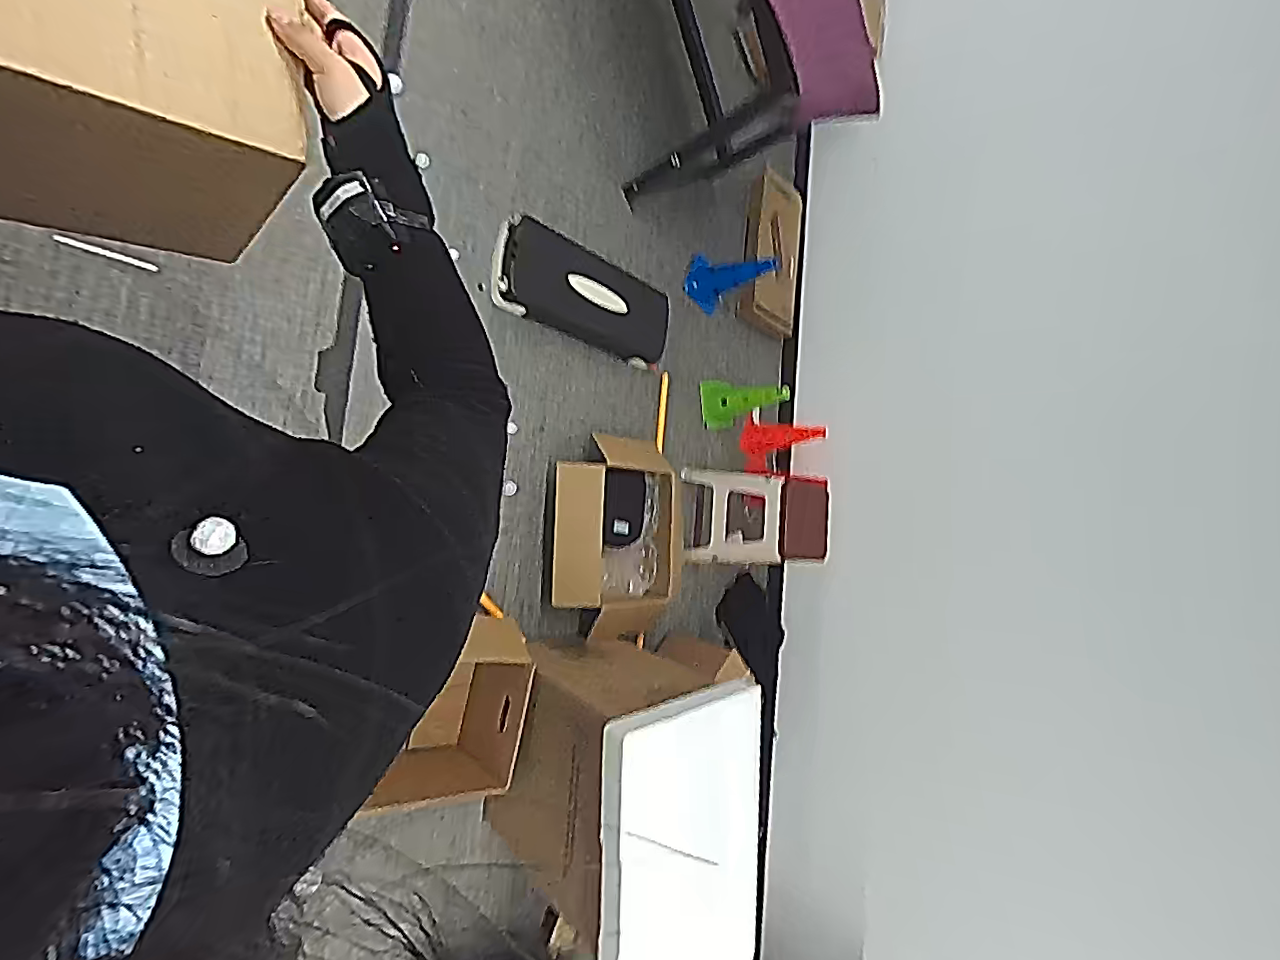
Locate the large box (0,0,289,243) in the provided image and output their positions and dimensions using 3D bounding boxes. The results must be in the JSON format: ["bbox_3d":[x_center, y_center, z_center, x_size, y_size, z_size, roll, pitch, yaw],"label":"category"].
[{"bbox_3d":[-0.536,-0.407,0.392,0.408,0.320,0.320,-6,95,-46],"label":"large box"}]
